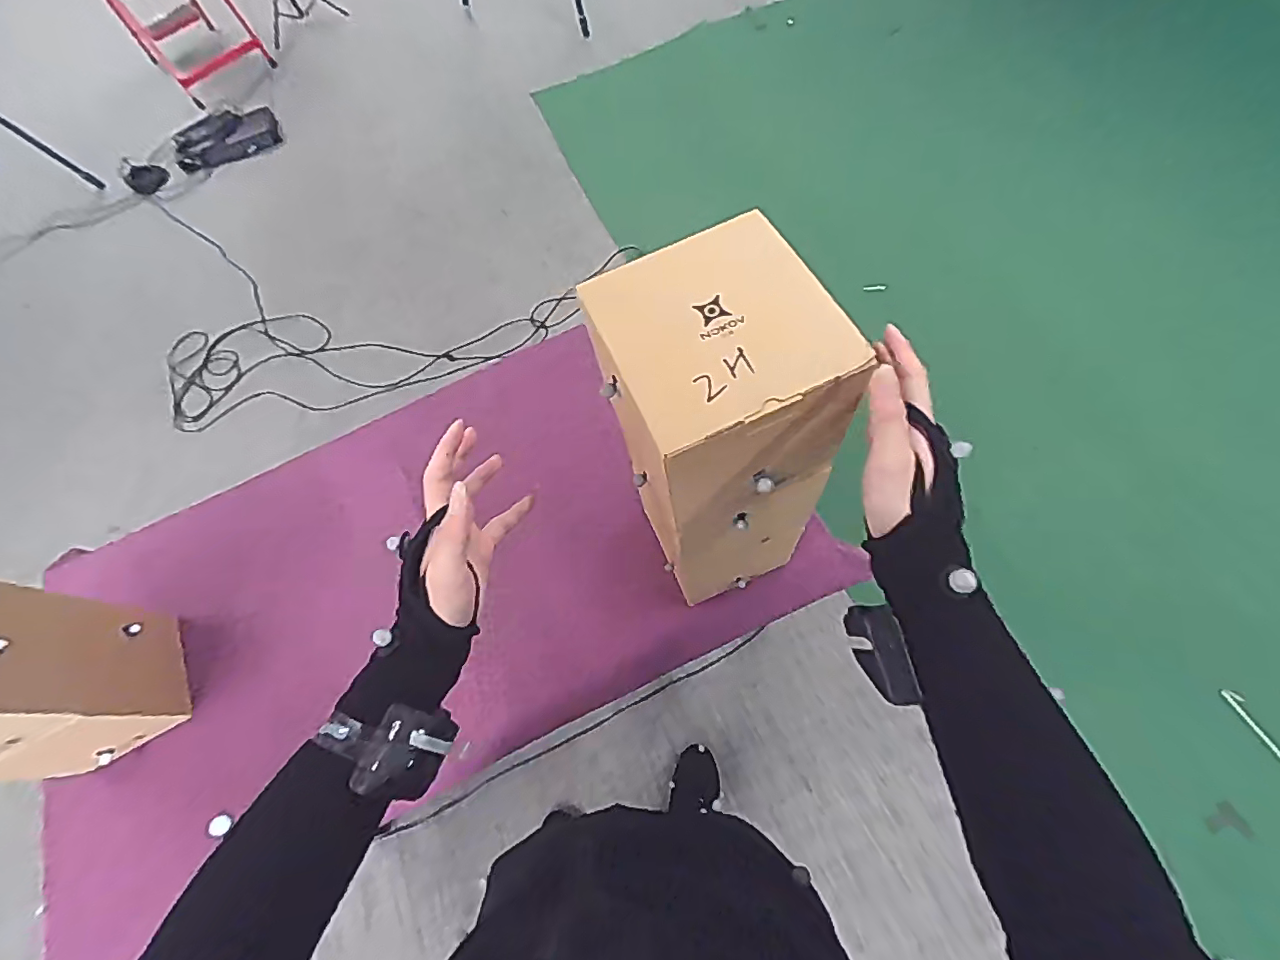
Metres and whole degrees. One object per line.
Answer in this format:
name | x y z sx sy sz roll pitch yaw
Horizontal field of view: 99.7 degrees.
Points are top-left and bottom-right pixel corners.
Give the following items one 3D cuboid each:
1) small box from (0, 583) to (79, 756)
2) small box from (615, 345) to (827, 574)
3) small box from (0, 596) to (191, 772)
small box | -0.814 0.229 0.625 0.168 0.176 0.179 -29 67 -6
small box | 0.086 -0.015 0.626 0.168 0.176 0.179 -24 65 -2
small box | -0.797 0.295 0.773 0.168 0.176 0.179 -29 67 -6
